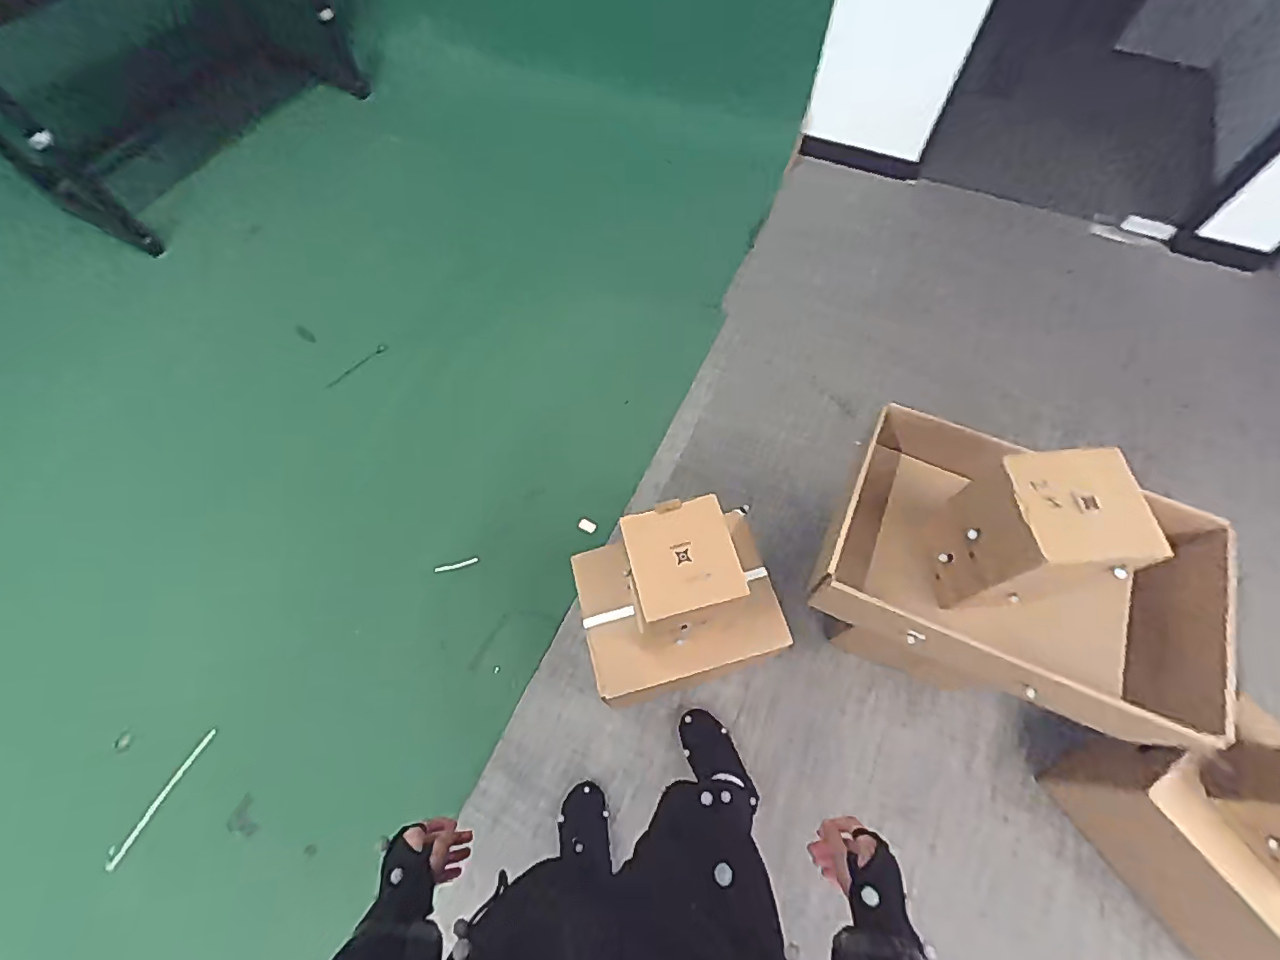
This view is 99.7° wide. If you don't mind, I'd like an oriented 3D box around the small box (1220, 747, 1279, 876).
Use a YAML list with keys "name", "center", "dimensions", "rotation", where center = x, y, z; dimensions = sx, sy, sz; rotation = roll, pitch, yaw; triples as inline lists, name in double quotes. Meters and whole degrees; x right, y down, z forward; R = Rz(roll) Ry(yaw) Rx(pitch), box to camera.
- name: "small box"
  center: [1.125, 0.550, 0.872]
  dimensions: [0.179, 0.176, 0.168]
  rotation: [-27, 68, -12]

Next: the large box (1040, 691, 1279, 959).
- name: "large box"
  center: [1.146, 0.690, 1.075]
  dimensions: [0.320, 0.320, 0.408]
  rotation: [-32, 70, -13]

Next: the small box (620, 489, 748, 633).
- name: "small box"
  center: [0.066, 0.140, 0.906]
  dimensions: [0.168, 0.176, 0.179]
  rotation: [-13, 65, -4]

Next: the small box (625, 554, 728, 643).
- name: "small box"
  center: [0.064, 0.206, 1.055]
  dimensions: [0.168, 0.176, 0.179]
  rotation: [-11, 65, -3]

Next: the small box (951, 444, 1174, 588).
- name: "small box"
  center: [0.614, 0.060, 0.814]
  dimensions: [0.179, 0.176, 0.168]
  rotation: [-4, 64, 1]
